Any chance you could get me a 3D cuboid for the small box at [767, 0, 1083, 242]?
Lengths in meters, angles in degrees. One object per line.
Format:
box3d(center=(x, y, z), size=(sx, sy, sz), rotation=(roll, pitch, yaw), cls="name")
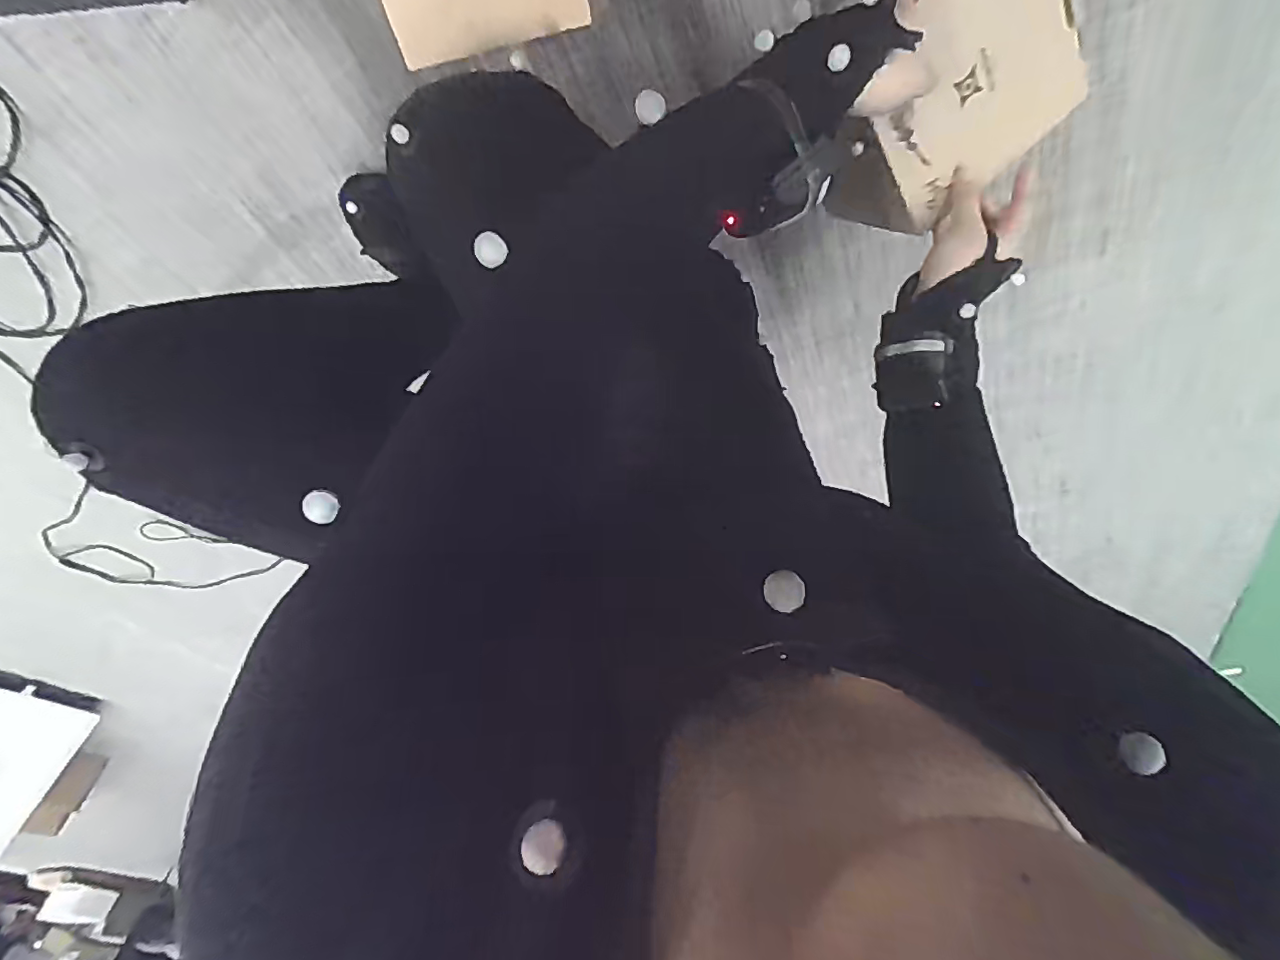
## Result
box3d(center=(0.252, -0.363, 0.506), size=(0.179, 0.176, 0.168), rotation=(-38, 124, 13), cls="small box")
